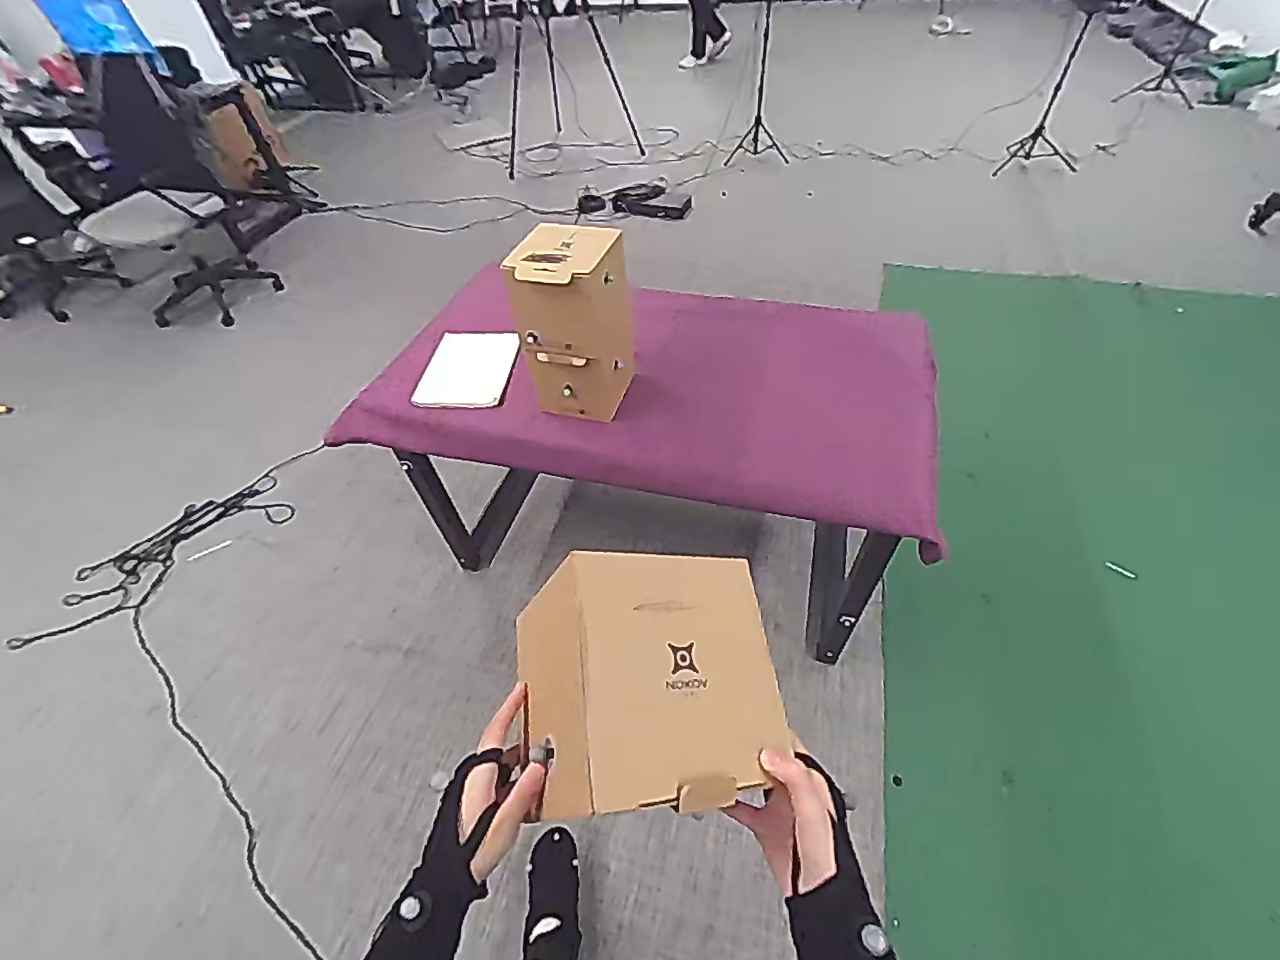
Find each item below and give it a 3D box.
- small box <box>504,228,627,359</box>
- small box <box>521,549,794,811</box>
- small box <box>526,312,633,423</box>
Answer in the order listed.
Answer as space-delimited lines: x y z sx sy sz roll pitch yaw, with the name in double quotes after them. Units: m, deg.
-0.127 -0.348 1.016 0.168 0.176 0.179 12 50 14 "small box"
-0.001 0.177 0.469 0.168 0.176 0.179 8 57 -25 "small box"
-0.116 -0.244 1.145 0.168 0.176 0.179 12 52 13 "small box"
